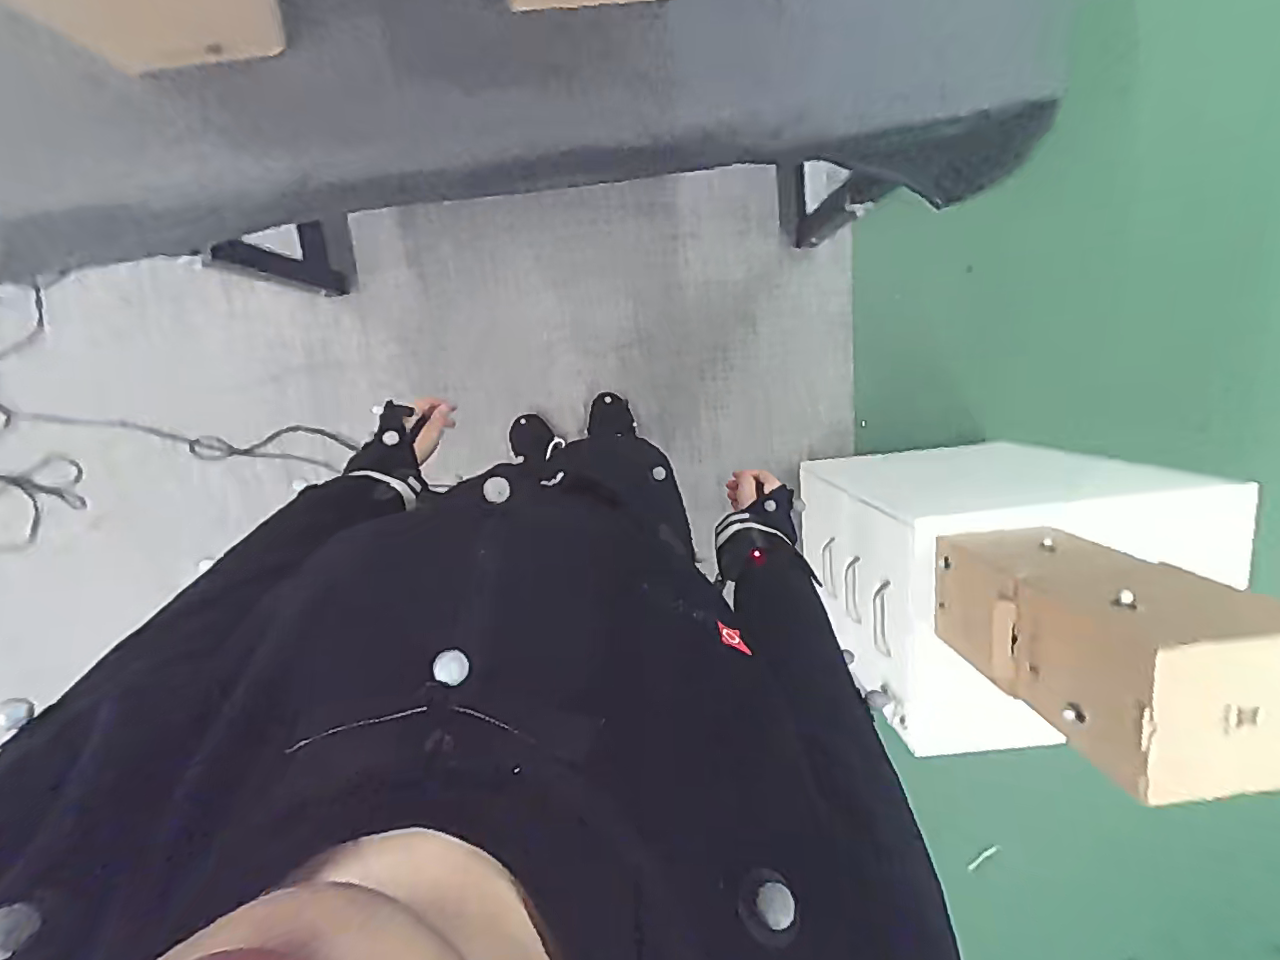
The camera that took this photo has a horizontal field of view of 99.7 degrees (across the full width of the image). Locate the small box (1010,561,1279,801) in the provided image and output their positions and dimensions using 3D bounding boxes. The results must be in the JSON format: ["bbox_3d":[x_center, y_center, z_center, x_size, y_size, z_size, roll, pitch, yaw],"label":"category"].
[{"bbox_3d":[0.535,0.200,0.579,0.179,0.176,0.168,-8,103,-2],"label":"small box"}]

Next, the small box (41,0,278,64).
[{"bbox_3d":[-0.445,-0.495,0.447,0.168,0.176,0.179,-7,100,-1],"label":"small box"}]

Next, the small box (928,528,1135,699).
[{"bbox_3d":[0.520,0.171,0.739,0.179,0.176,0.168,-5,102,-2],"label":"small box"}]
